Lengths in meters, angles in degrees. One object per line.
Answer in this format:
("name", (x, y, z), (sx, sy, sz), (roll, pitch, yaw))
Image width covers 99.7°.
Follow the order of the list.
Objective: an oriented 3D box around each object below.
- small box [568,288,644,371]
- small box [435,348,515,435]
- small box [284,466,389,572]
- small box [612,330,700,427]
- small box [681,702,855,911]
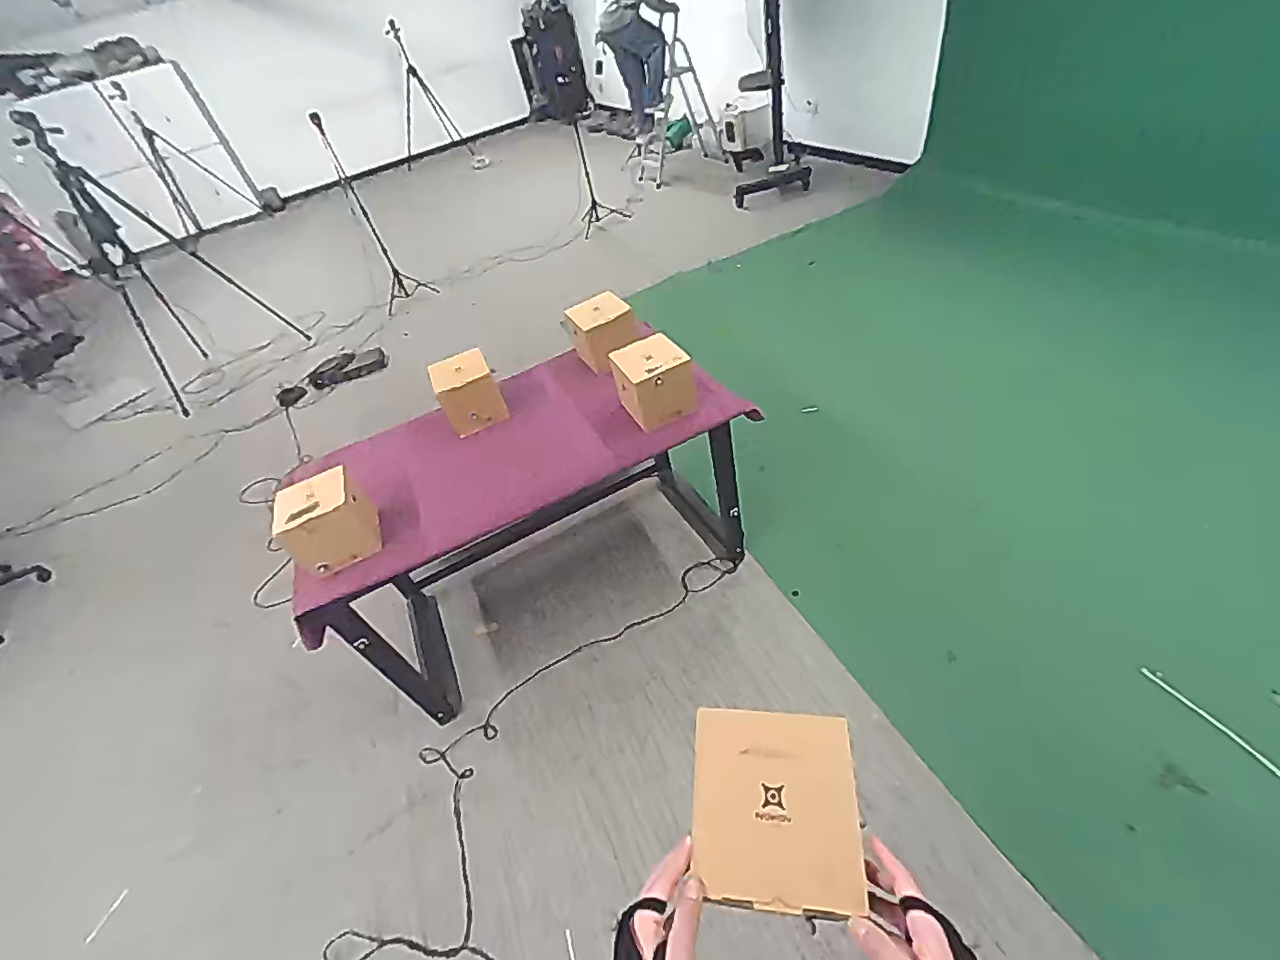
("small box", (-0.103, -0.477, 1.719), (0.168, 0.176, 0.179), (-30, 46, -8))
("small box", (-0.501, -0.268, 1.643), (0.168, 0.176, 0.179), (-25, 46, -9))
("small box", (-0.745, 0.104, 1.343), (0.168, 0.176, 0.179), (-27, 43, -10))
("small box", (0.046, -0.273, 1.468), (0.168, 0.176, 0.179), (-27, 45, -8))
("small box", (0.143, 0.375, 0.624), (0.168, 0.176, 0.179), (0, 52, 11))
